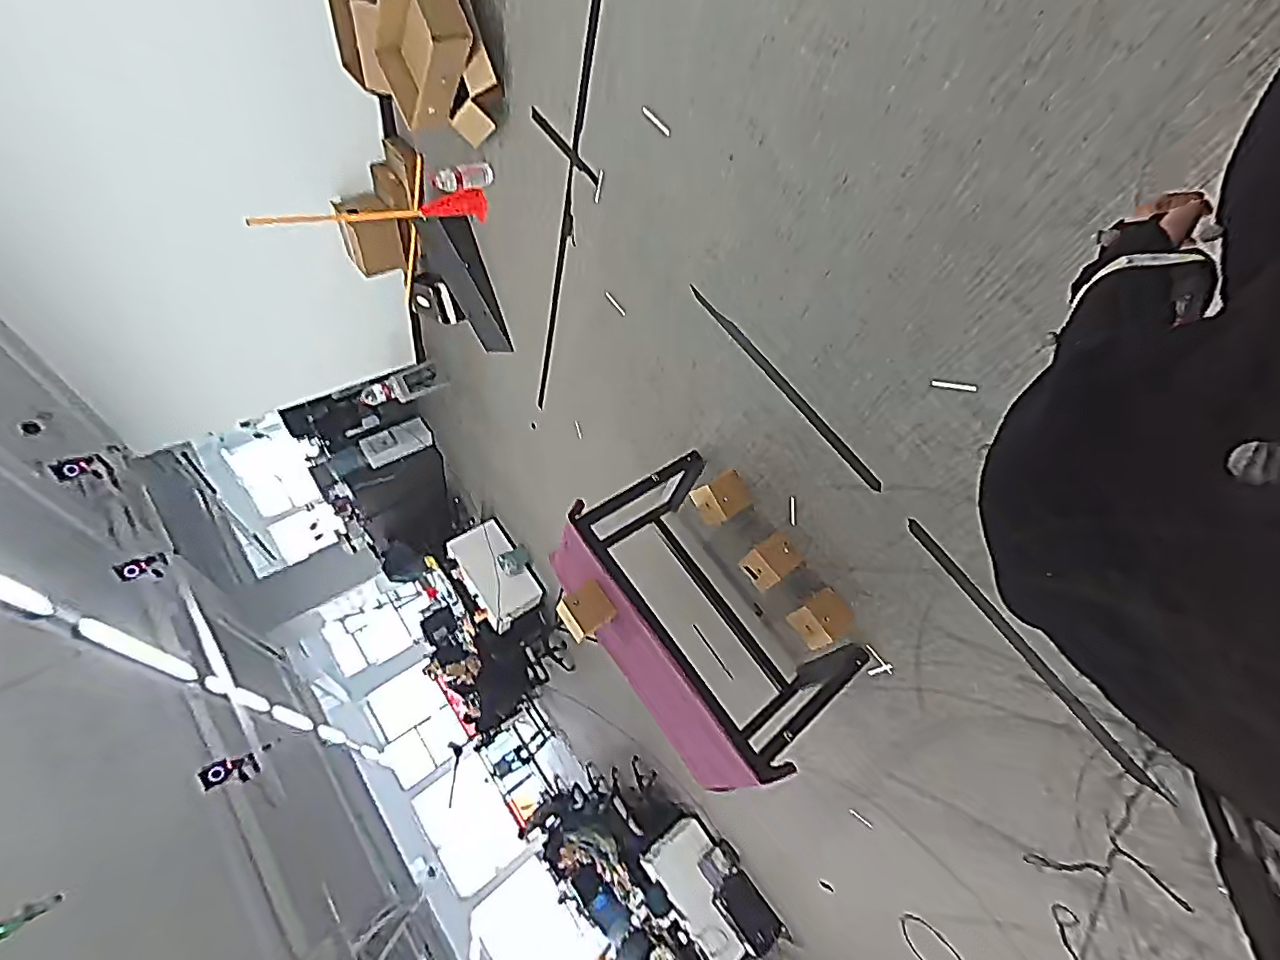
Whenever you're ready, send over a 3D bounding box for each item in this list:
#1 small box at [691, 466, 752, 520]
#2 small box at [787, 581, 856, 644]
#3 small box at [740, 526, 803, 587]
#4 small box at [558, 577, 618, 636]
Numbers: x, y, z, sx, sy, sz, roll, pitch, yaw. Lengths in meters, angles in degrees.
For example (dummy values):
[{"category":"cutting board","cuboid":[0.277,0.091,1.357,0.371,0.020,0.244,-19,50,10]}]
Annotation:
[{"category":"small box","cuboid":[0.370,0.054,2.444,0.179,0.176,0.168,59,151,0]},{"category":"small box","cuboid":[0.765,0.555,2.270,0.179,0.176,0.168,53,150,14]},{"category":"small box","cuboid":[0.577,0.332,2.363,0.168,0.176,0.179,51,149,16]},{"category":"small box","cuboid":[-0.222,0.531,2.296,0.179,0.176,0.168,52,152,13]}]
